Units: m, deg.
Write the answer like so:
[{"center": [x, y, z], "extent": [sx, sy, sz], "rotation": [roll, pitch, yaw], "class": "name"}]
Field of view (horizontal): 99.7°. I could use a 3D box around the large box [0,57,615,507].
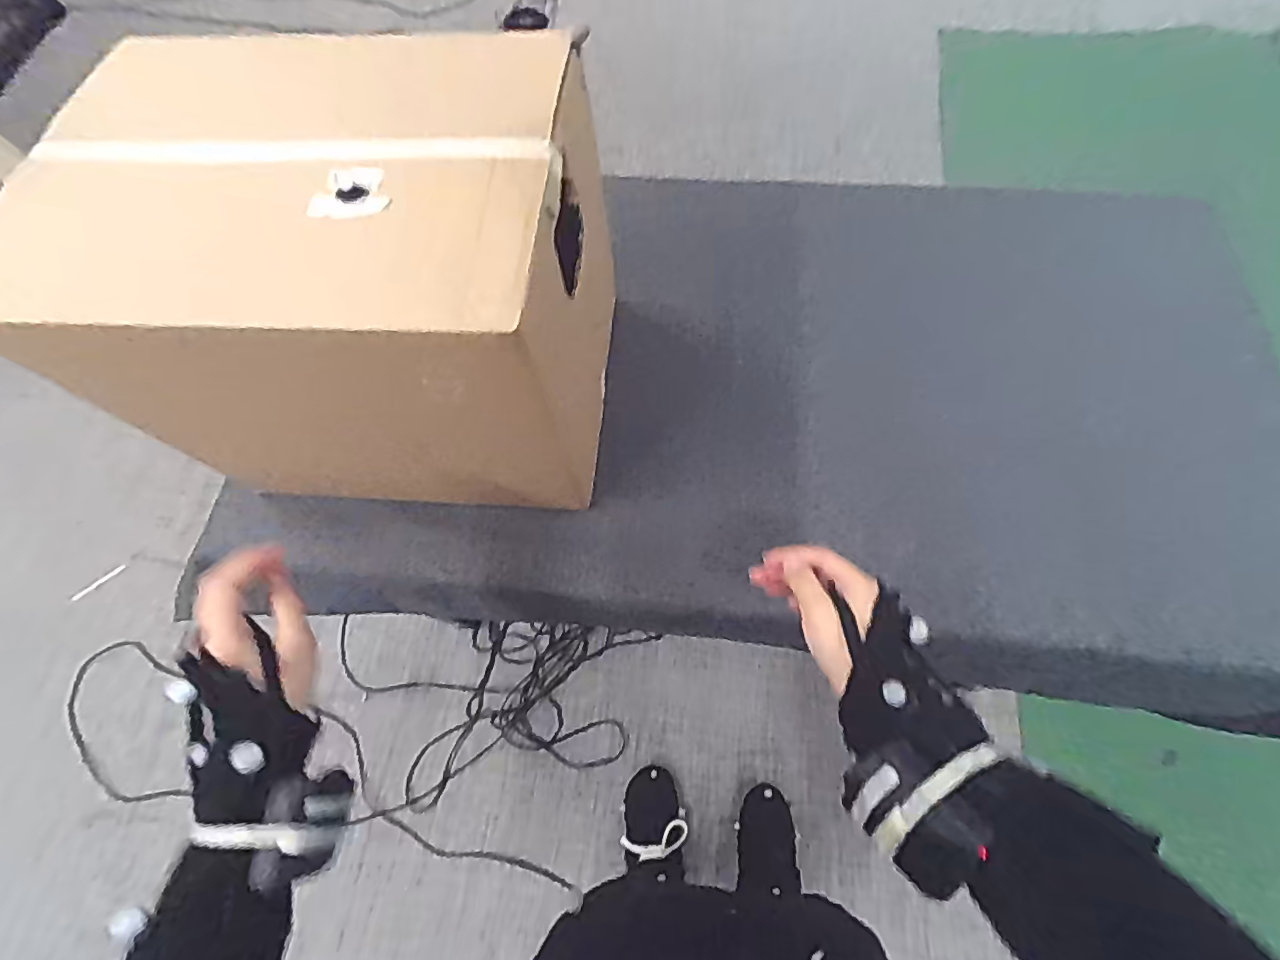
[{"center": [-0.245, -0.172, 0.550], "extent": [0.408, 0.320, 0.320], "rotation": [3, 66, 3], "class": "large box"}]
